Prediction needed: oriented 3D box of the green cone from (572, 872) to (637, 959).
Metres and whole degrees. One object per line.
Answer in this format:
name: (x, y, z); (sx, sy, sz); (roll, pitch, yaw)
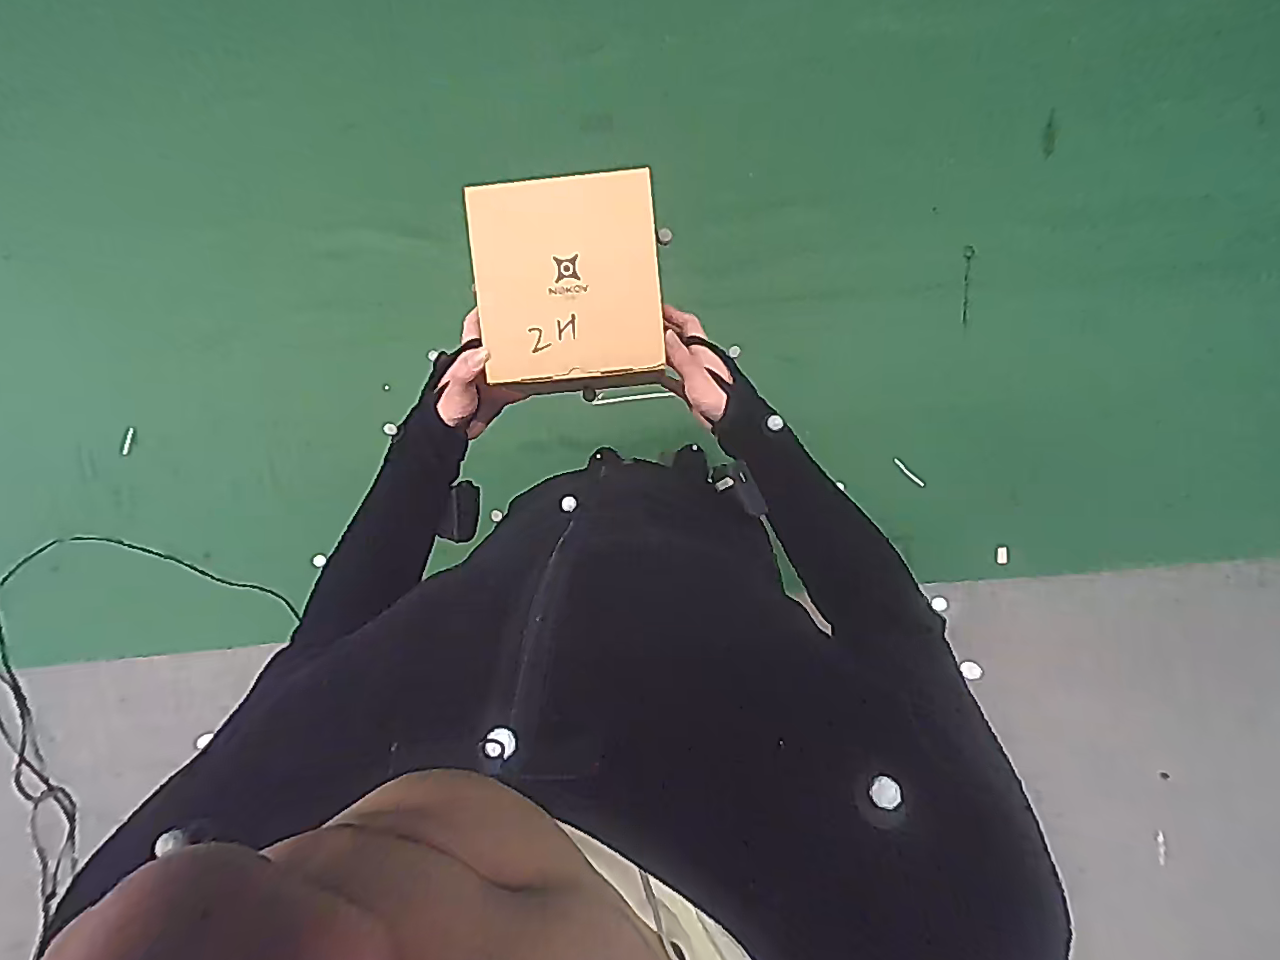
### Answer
green cone: (-0.120, 1.358, 1.555); (0.202, 0.368, 0.200); (-4, 93, 3)
